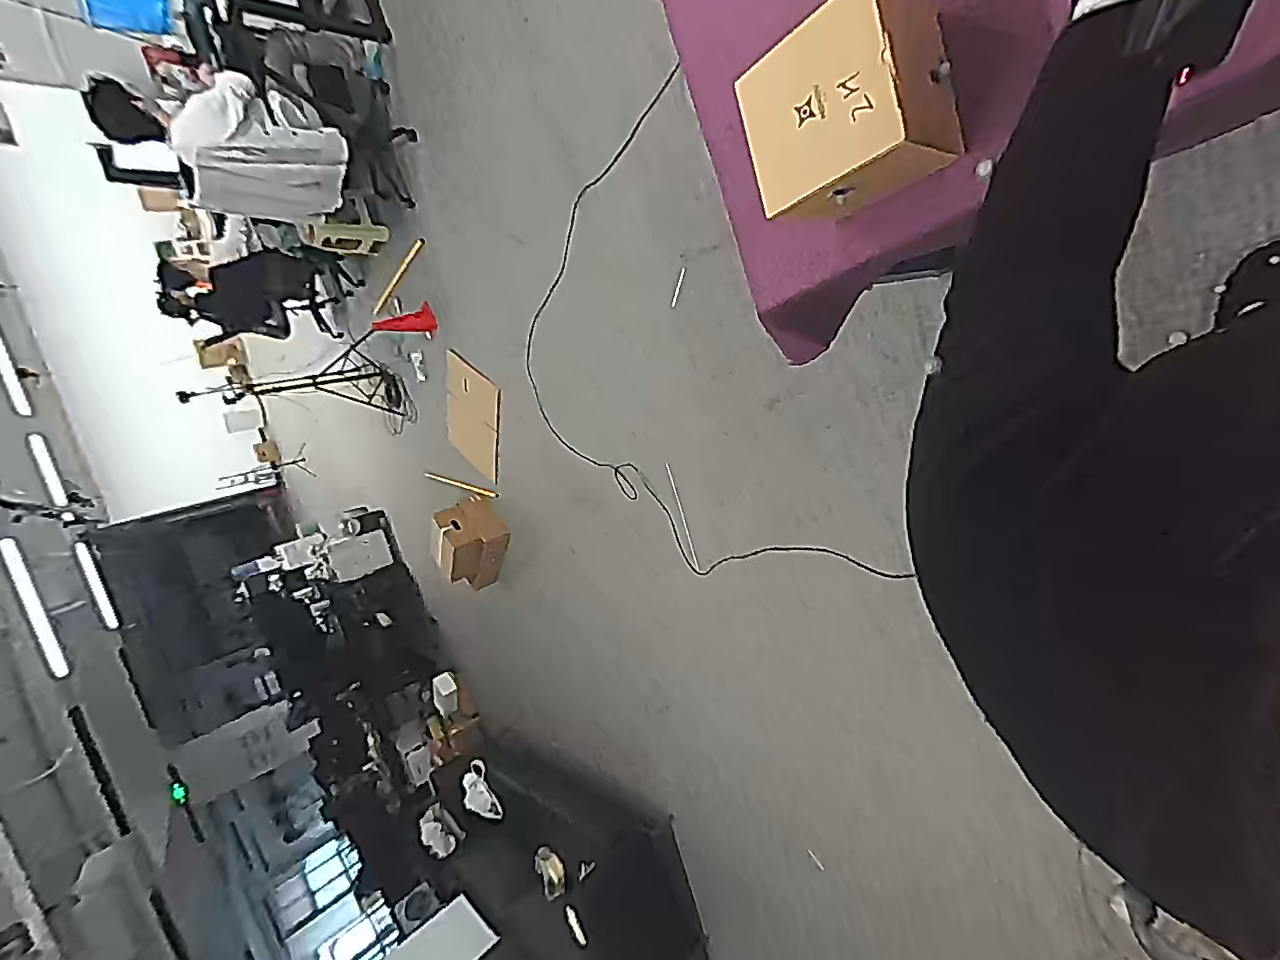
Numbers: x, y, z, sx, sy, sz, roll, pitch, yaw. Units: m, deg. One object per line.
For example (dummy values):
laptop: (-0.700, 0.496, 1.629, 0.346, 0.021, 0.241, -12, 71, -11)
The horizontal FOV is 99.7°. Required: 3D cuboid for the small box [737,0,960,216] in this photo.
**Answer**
small box: (0.250, -0.436, 0.651, 0.179, 0.176, 0.168, -8, 100, 50)
